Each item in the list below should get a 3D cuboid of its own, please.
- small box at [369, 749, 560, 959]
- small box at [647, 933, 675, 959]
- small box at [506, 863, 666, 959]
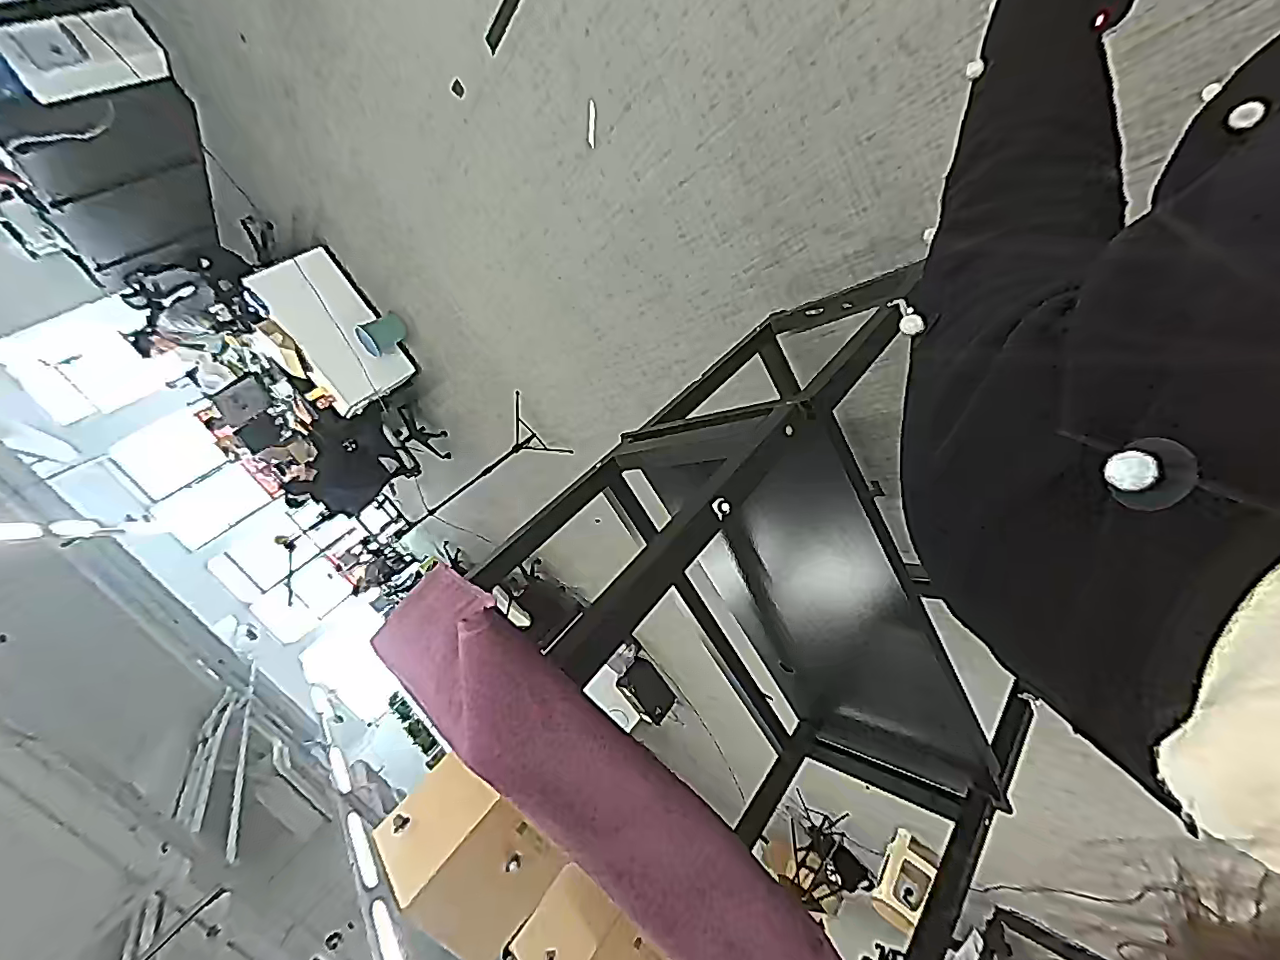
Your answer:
[{"bbox_3d":[-0.245,0.520,0.767,0.179,0.176,0.168,1,129,53],"label":"small box"},{"bbox_3d":[0.039,0.978,0.974,0.168,0.176,0.179,-4,124,55],"label":"small box"},{"bbox_3d":[-0.082,0.784,0.887,0.168,0.176,0.179,55,151,-14],"label":"small box"}]
